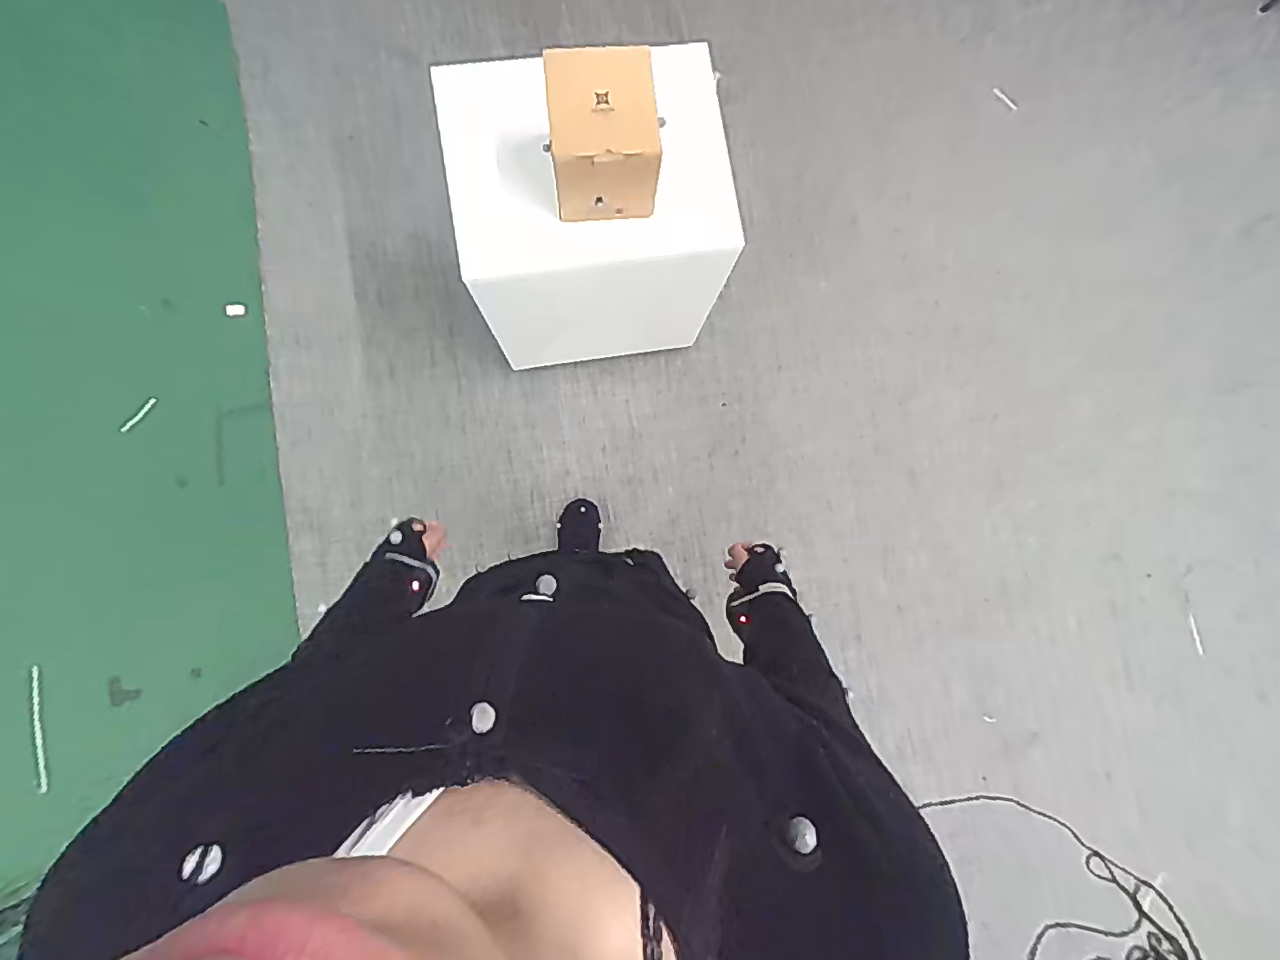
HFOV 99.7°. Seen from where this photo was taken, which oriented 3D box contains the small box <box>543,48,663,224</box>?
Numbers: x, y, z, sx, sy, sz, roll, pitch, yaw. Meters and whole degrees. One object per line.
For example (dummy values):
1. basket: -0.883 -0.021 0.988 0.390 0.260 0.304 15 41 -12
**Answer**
1. small box: -0.062 -0.547 0.876 0.168 0.176 0.179 -7 85 -5
